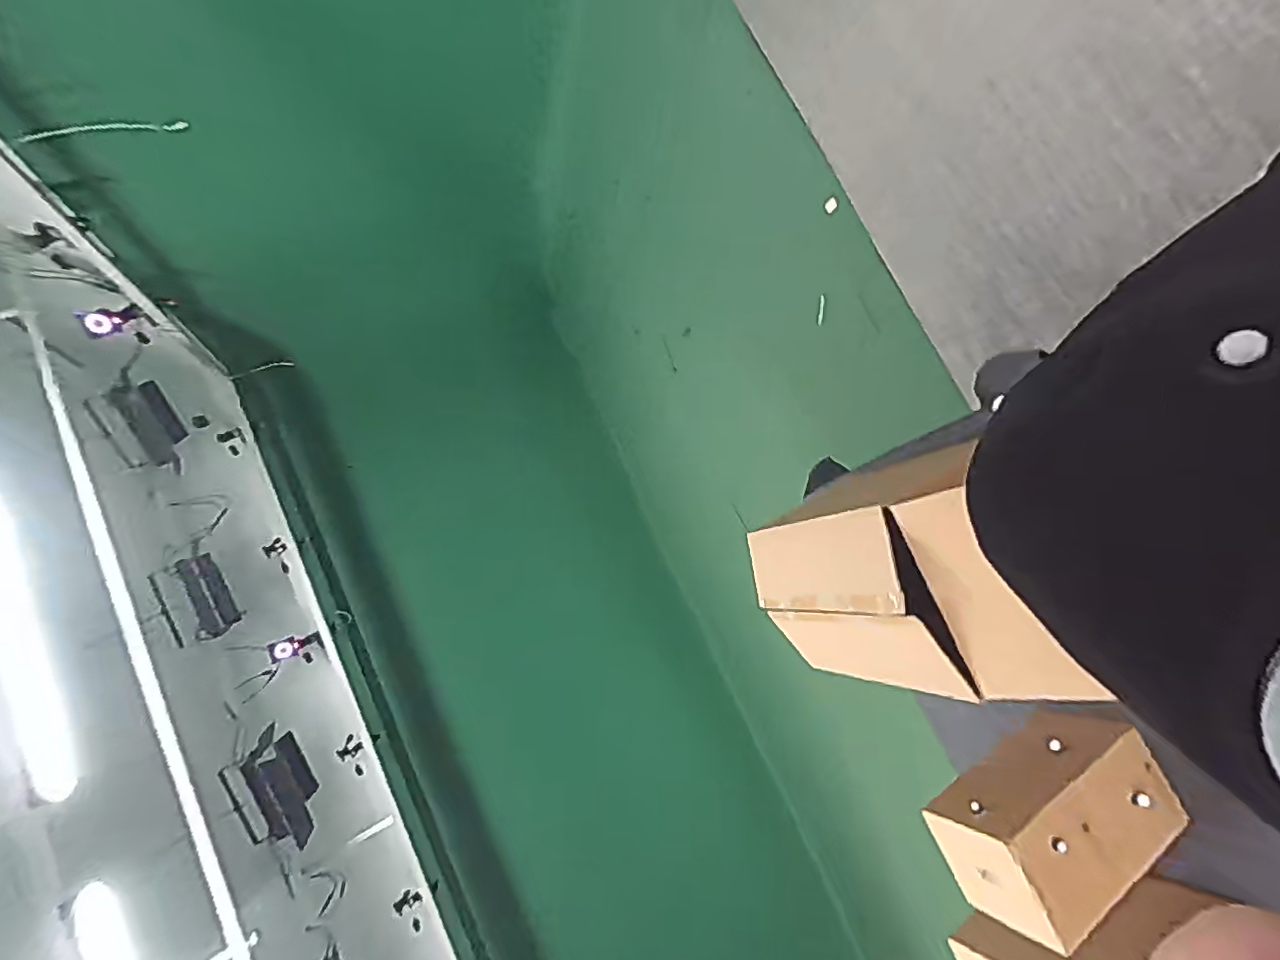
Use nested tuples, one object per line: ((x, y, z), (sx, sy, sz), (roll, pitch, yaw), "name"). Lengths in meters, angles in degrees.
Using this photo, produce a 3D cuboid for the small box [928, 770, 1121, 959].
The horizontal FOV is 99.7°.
((0.633, 0.612, 0.891), (0.168, 0.176, 0.179), (63, 161, 9), "small box")
